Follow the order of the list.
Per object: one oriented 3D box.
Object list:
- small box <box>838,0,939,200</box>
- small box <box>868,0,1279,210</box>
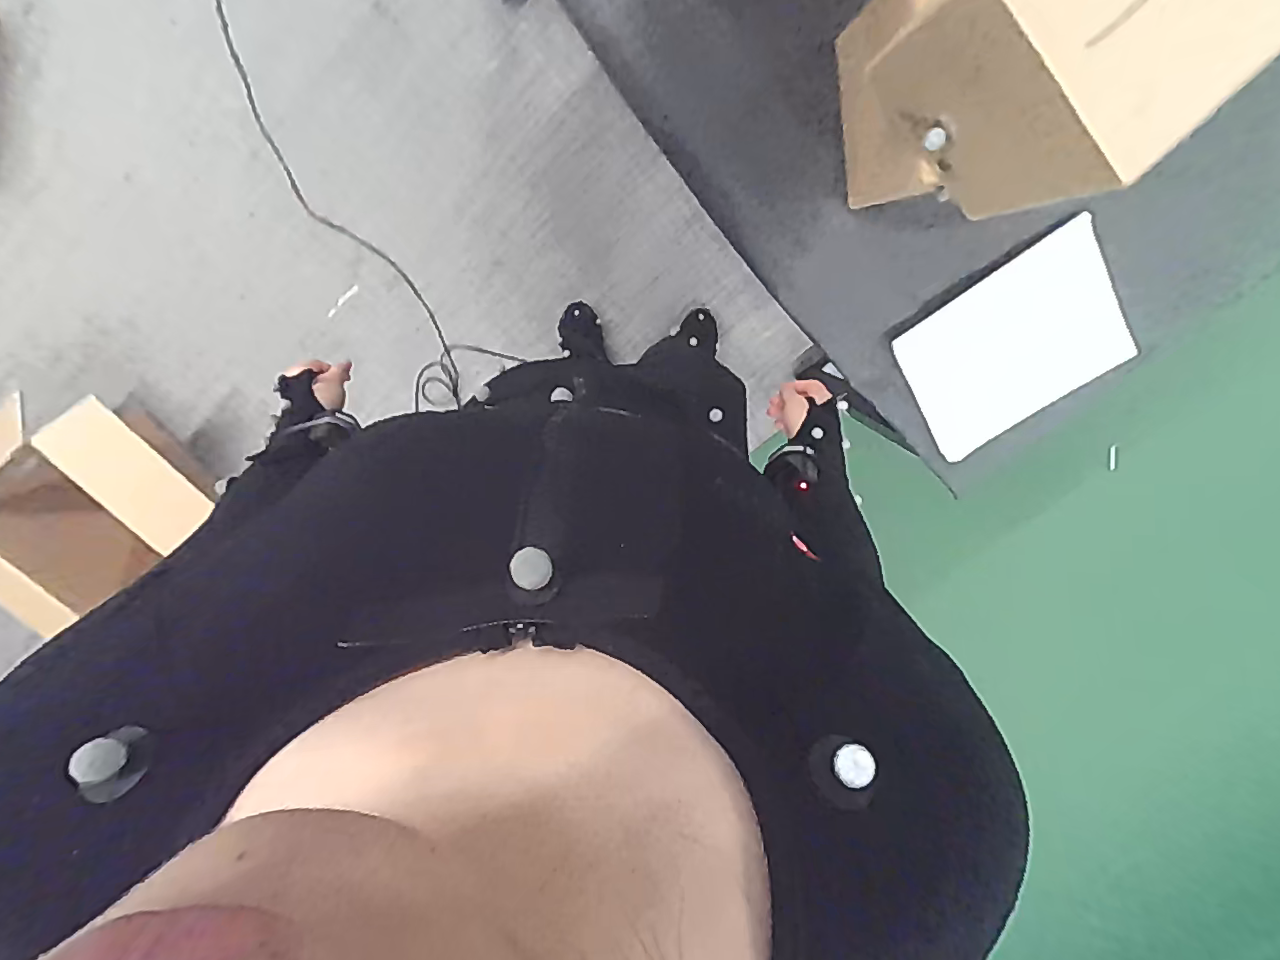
[{"bbox_3d":[0.310,-0.392,0.534,0.168,0.176,0.179,-12,108,3],"label":"small box"},{"bbox_3d":[0.303,-0.327,0.382,0.168,0.176,0.179,43,103,-13],"label":"small box"}]
